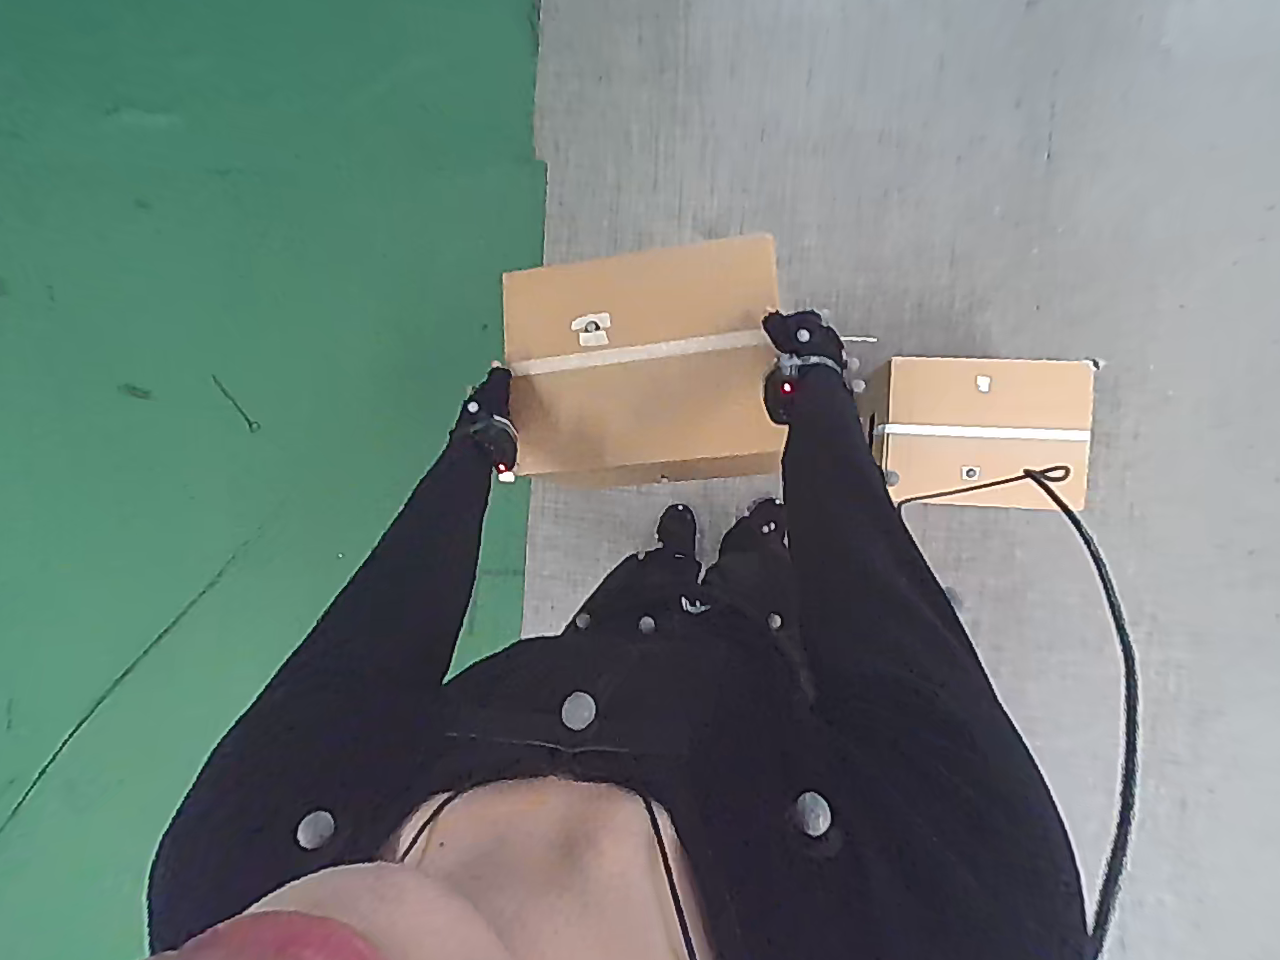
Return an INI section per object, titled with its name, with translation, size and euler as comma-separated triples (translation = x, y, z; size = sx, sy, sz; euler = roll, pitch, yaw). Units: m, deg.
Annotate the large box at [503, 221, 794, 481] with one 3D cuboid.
[large box]
translation = 0.027, -0.177, 0.912
size = 0.408, 0.320, 0.320
euler = -5, 83, 10
